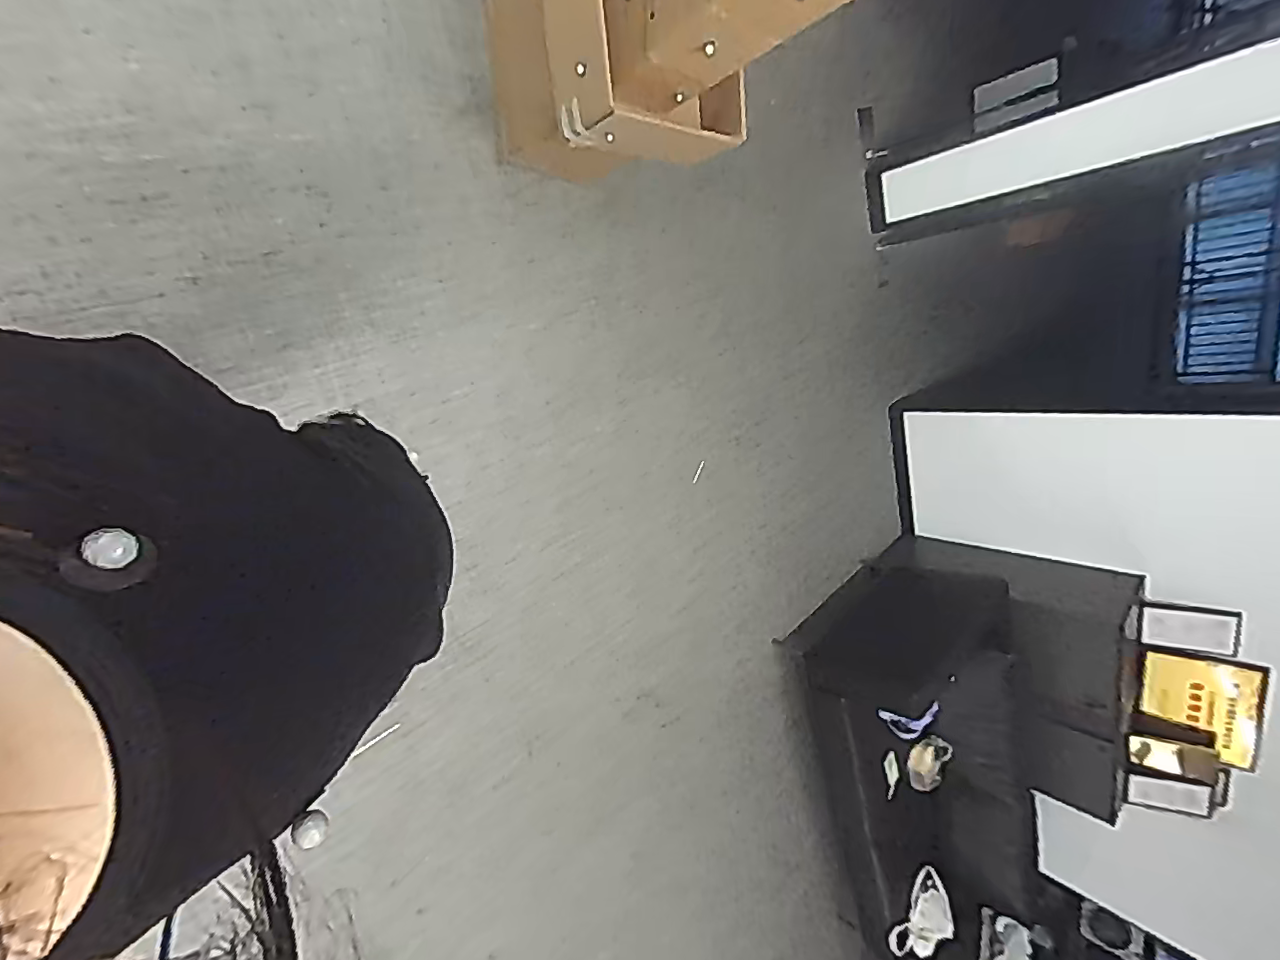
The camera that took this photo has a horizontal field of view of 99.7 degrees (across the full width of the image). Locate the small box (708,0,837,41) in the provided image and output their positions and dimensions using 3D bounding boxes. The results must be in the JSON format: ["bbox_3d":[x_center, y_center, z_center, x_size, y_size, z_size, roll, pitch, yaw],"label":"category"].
[{"bbox_3d":[0.222,-0.870,0.881,0.179,0.176,0.168,-7,102,-40],"label":"small box"}]

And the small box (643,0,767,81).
[{"bbox_3d":[0.119,-0.889,1.006,0.179,0.176,0.168,-8,102,-38],"label":"small box"}]
